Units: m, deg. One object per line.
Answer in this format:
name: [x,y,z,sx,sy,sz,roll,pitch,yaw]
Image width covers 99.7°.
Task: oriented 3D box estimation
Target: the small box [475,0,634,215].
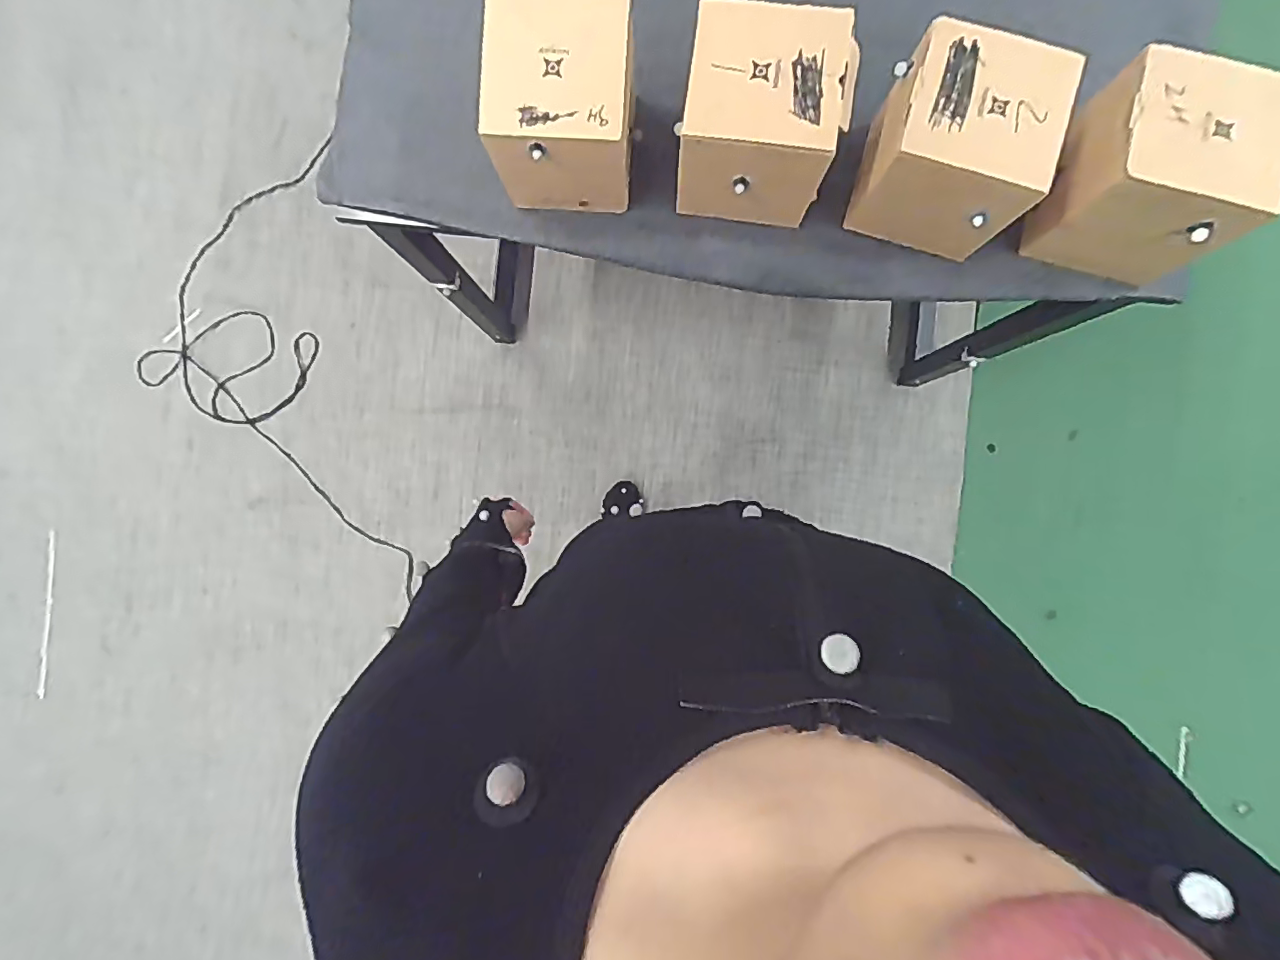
small box: [-0.096,-0.471,0.690,0.168,0.176,0.179,4,89,2]
